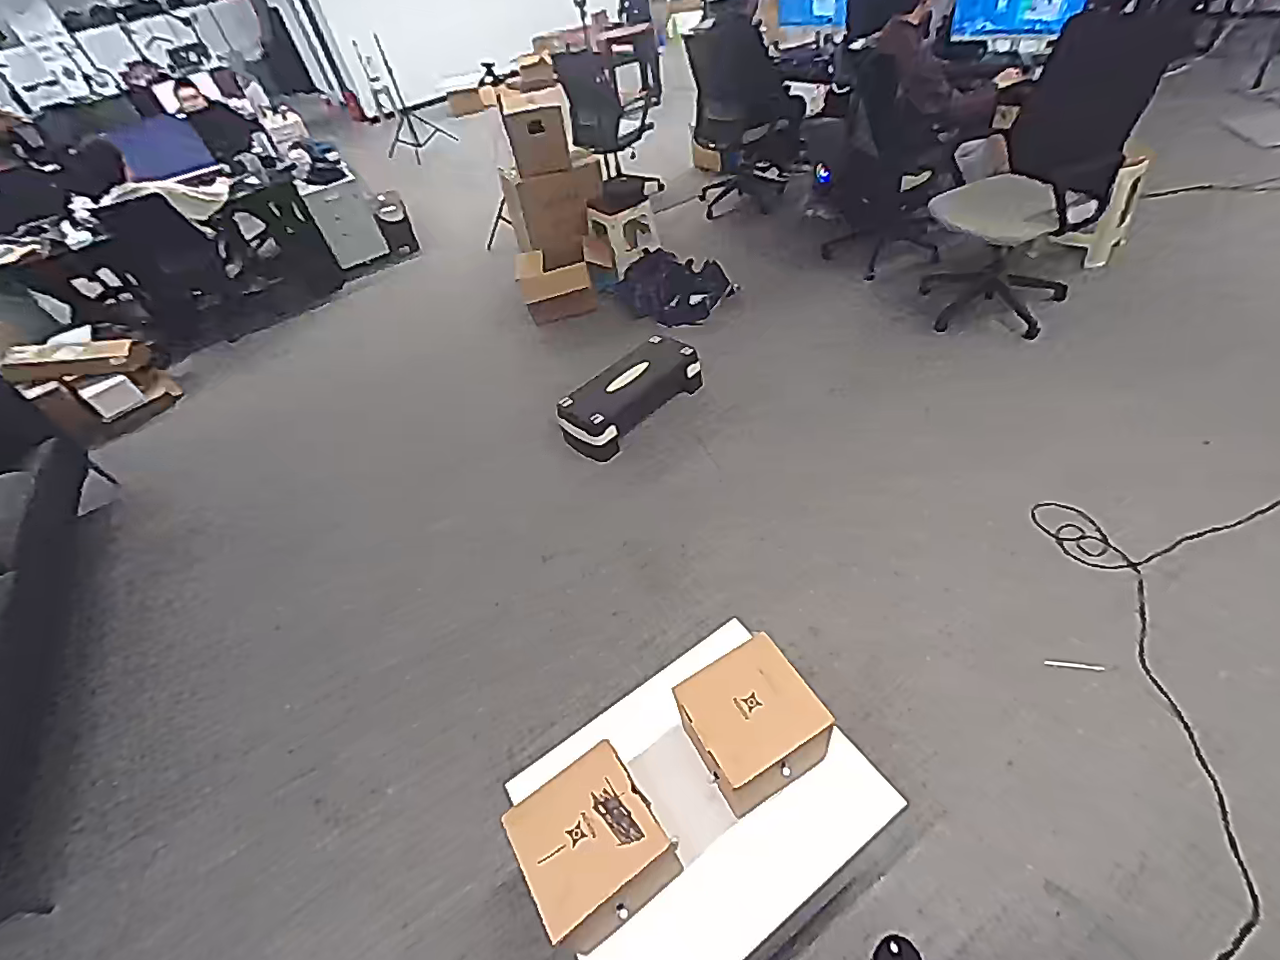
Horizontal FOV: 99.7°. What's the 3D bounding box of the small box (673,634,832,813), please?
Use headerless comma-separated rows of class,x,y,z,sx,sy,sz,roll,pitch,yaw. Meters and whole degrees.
small box,0.174,0.382,0.845,0.179,0.176,0.168,-27,48,-13
